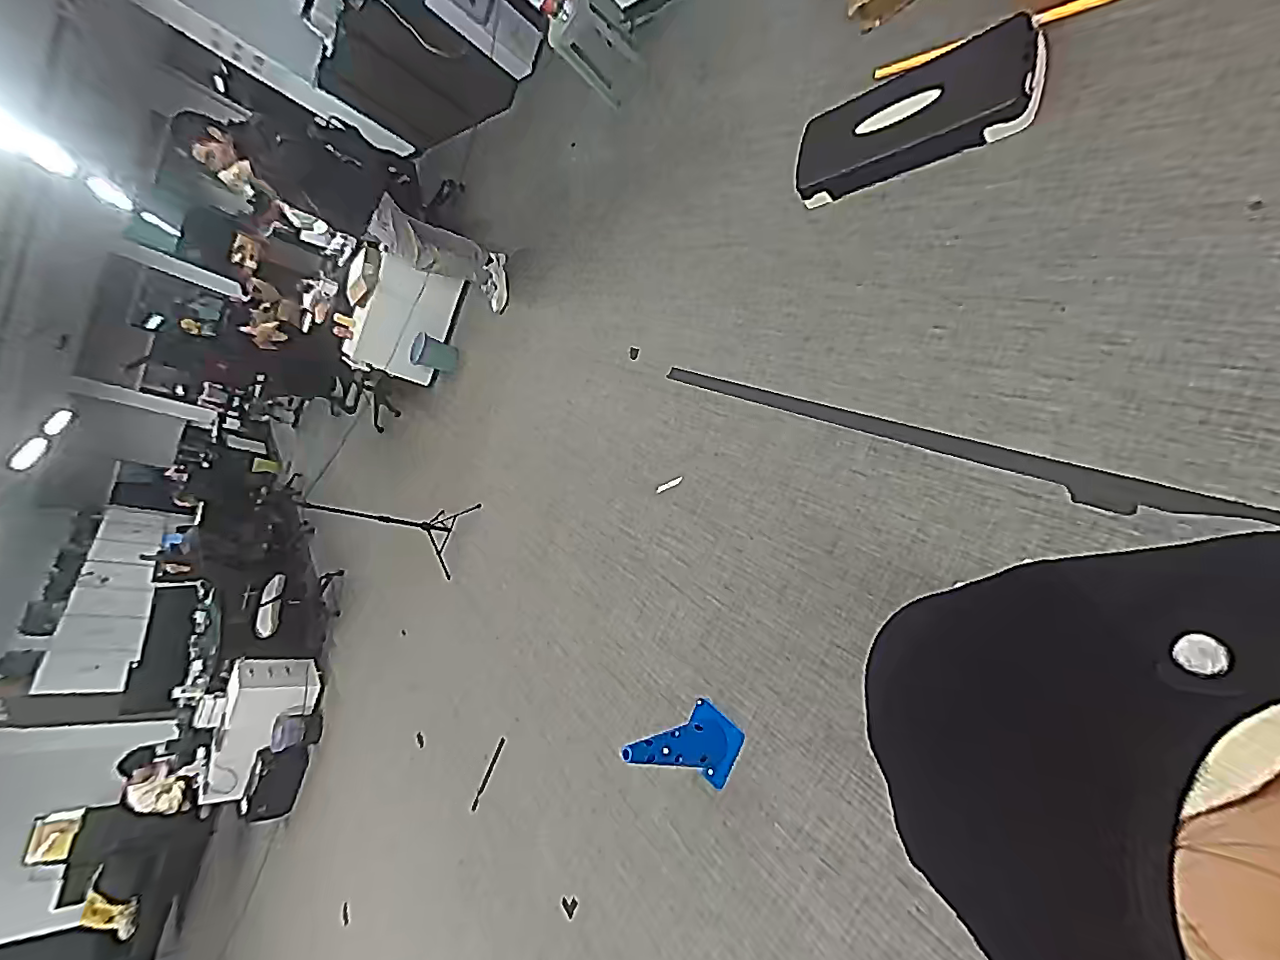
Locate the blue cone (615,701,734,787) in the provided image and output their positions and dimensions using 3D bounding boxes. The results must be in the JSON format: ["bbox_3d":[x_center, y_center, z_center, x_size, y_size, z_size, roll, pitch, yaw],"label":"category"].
[{"bbox_3d":[0.084,0.780,1.570,0.192,0.380,0.193,31,100,49],"label":"blue cone"}]
